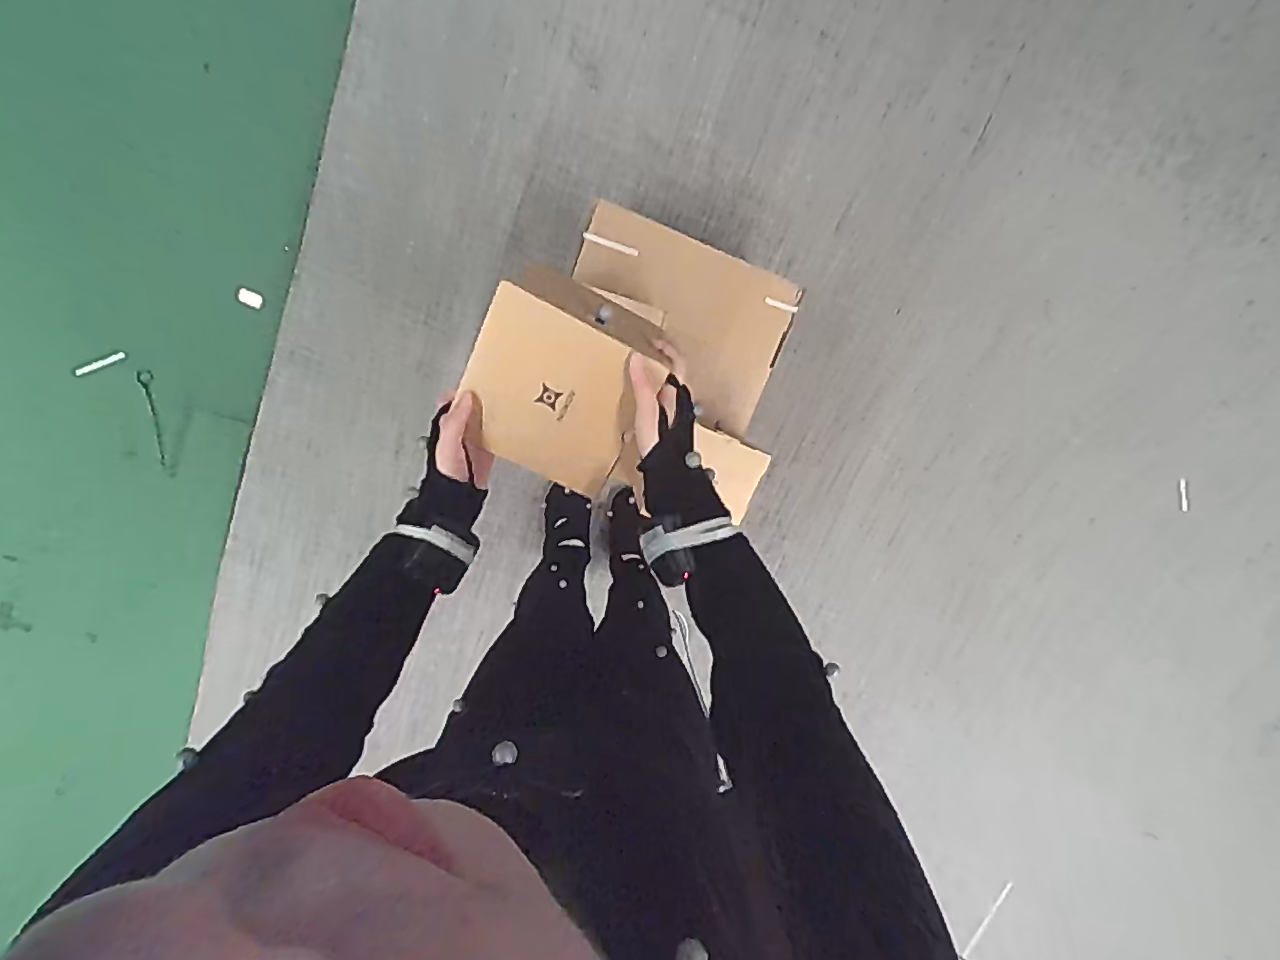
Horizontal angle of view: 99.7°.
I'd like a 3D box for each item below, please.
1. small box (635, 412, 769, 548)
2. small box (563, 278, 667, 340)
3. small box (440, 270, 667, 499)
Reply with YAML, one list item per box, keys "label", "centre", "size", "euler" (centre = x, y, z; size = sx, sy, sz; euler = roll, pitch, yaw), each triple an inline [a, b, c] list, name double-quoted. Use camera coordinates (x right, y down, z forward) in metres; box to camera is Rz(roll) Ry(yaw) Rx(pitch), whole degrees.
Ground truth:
- label: "small box"
  centre: [0.097, -0.010, 0.963]
  size: [0.168, 0.176, 0.179]
  euler: [23, 99, -9]
- label: "small box"
  centre: [-0.070, -0.219, 0.908]
  size: [0.179, 0.176, 0.168]
  euler: [17, 99, -7]
- label: "small box"
  centre: [-0.087, -0.113, 0.598]
  size: [0.179, 0.176, 0.168]
  euler: [25, 116, -14]
